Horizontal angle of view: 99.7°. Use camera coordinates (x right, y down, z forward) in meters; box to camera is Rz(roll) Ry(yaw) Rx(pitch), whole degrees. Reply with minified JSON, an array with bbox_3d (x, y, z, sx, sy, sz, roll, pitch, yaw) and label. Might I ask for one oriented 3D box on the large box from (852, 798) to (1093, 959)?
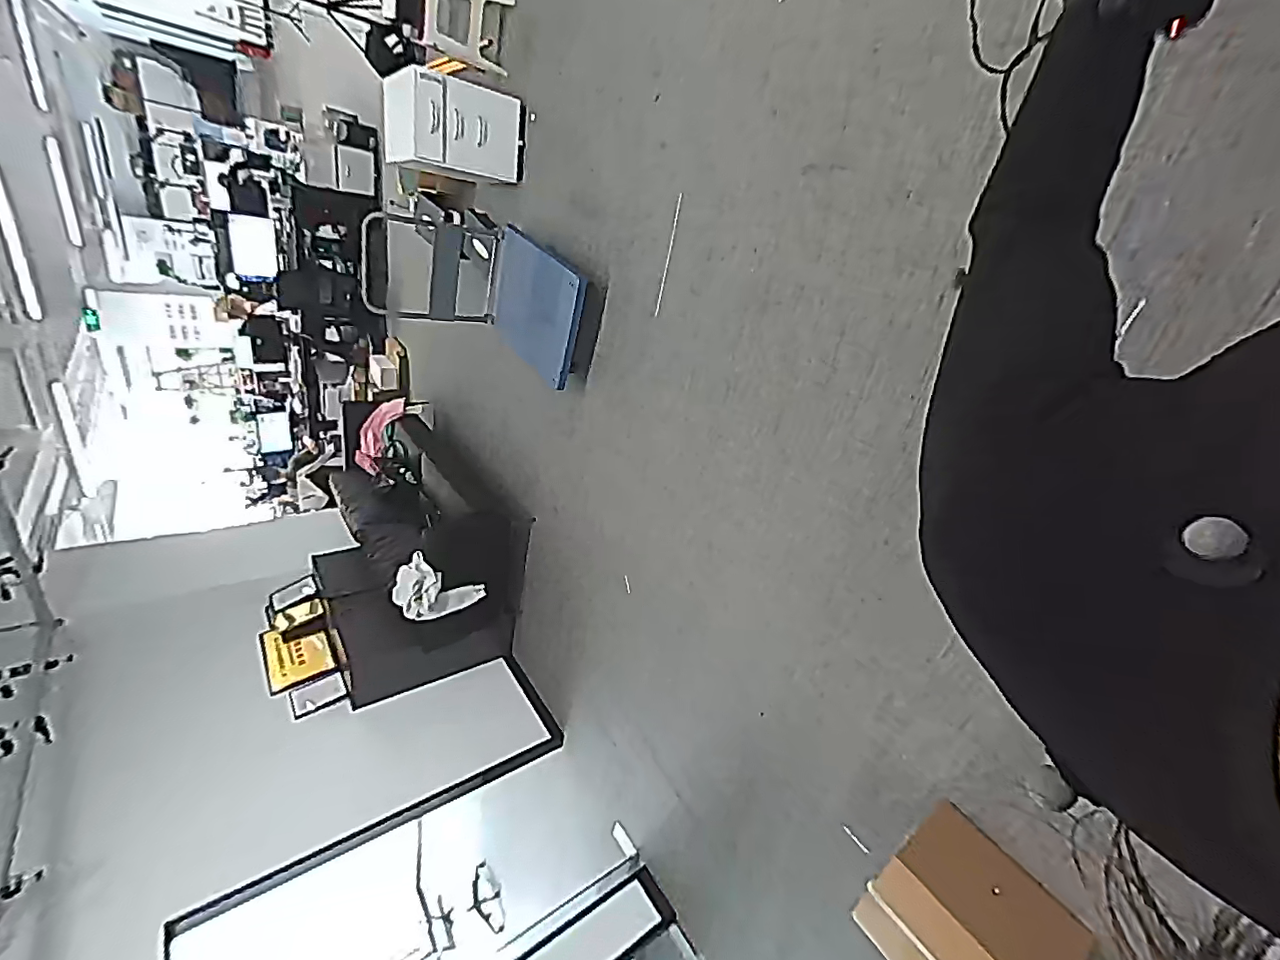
[{"bbox_3d":[0.870,1.174,1.446,0.408,0.320,0.320,39,127,40],"label":"large box"}]
